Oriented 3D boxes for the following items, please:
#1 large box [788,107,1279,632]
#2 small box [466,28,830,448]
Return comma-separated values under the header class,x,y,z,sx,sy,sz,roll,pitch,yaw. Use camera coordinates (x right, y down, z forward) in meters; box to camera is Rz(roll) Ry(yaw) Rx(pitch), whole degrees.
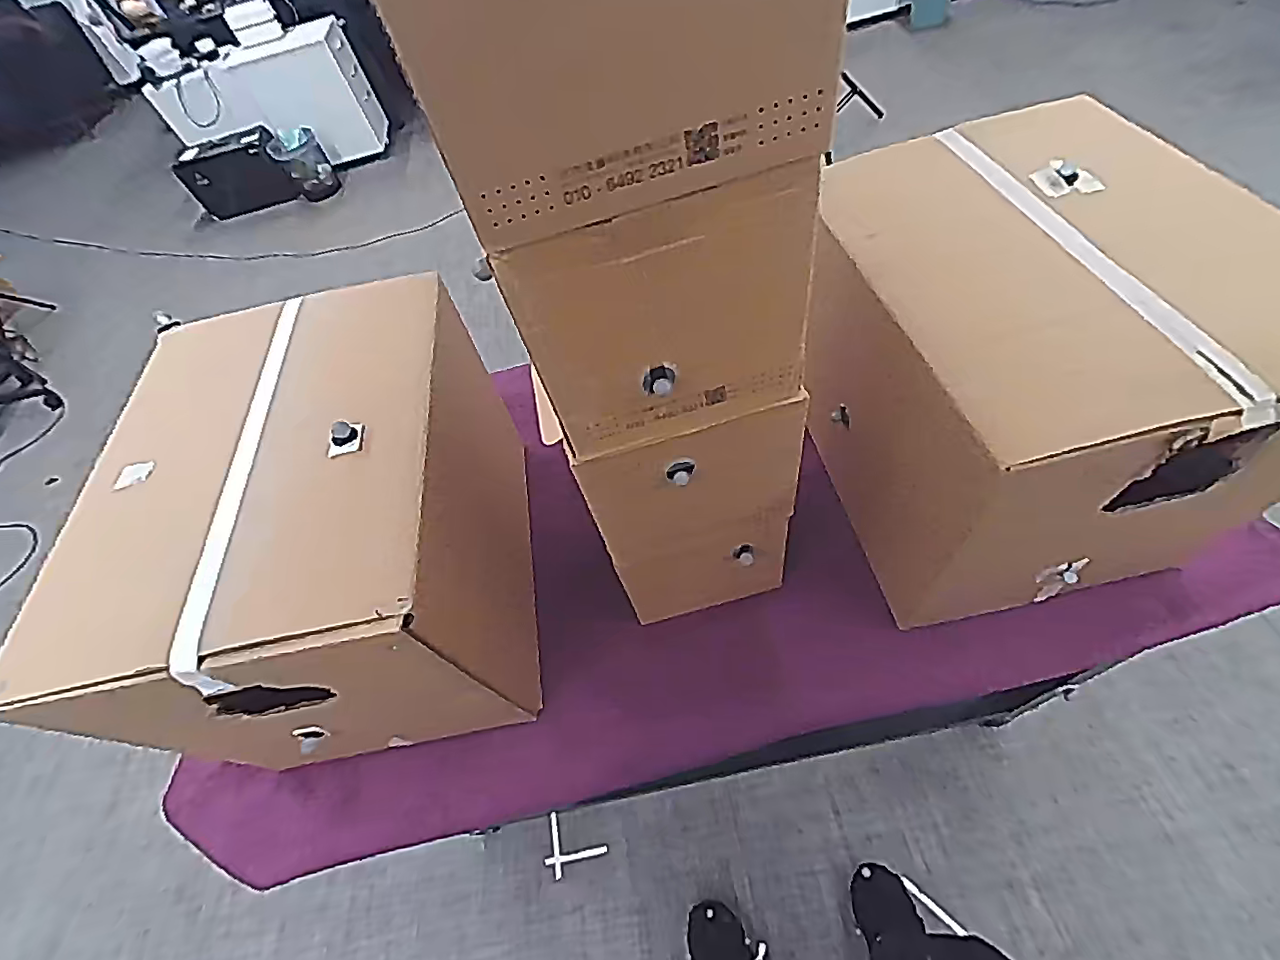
class,x,y,z,sx,sy,sz,roll,pitch,yaw
large box,0.370,-0.110,0.570,0.320,0.320,0.408,-14,53,2
small box,0.001,-0.151,0.356,0.168,0.176,0.179,-17,55,-1
